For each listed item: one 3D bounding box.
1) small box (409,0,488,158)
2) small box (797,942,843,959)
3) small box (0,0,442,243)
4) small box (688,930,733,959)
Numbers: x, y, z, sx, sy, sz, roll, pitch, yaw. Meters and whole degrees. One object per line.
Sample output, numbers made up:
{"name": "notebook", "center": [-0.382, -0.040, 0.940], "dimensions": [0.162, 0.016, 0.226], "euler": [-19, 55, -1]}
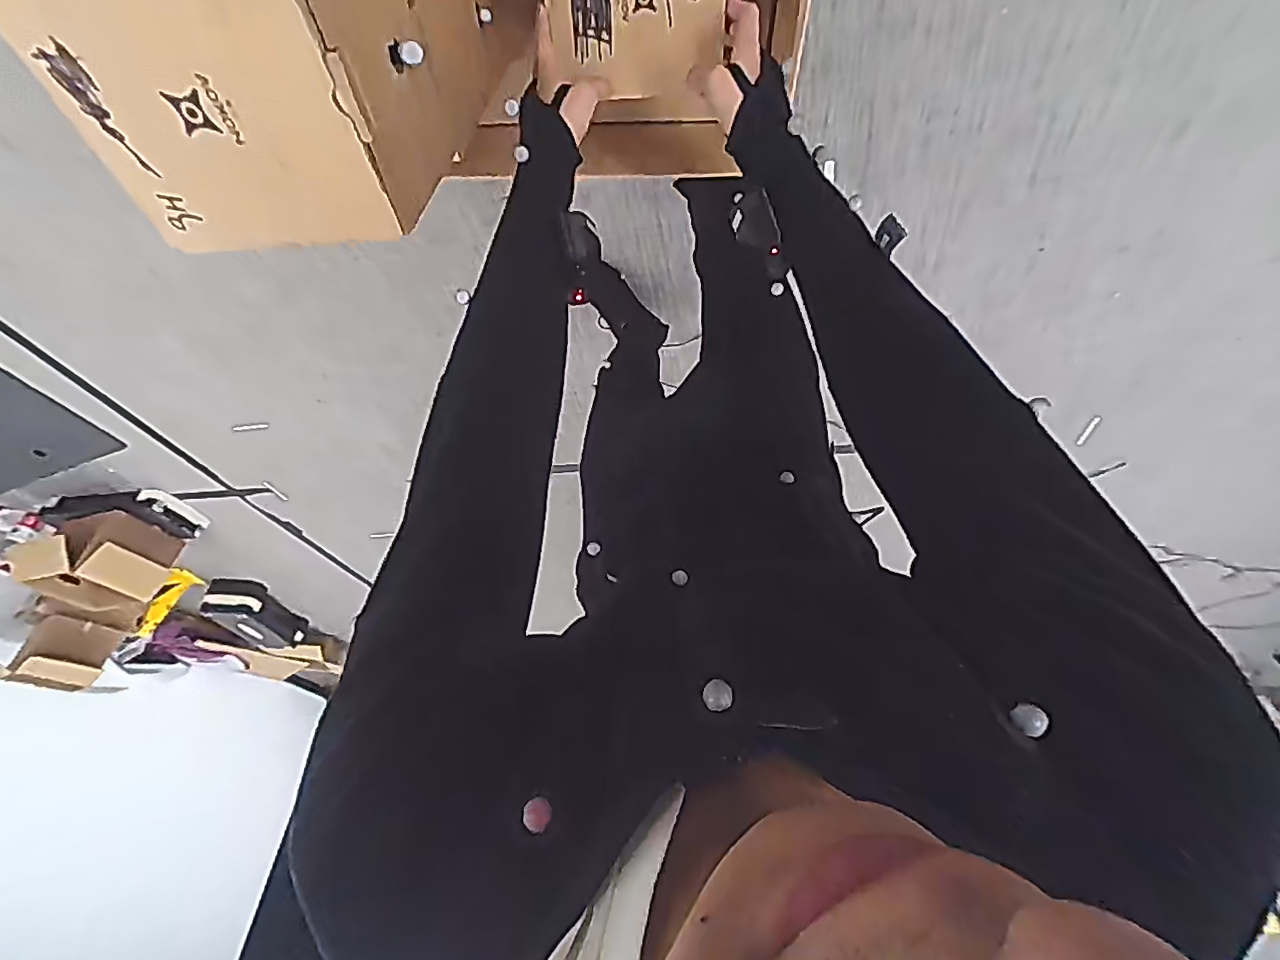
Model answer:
{"name": "small box", "center": [-0.245, -0.408, 0.471], "dimensions": [0.168, 0.176, 0.179], "euler": [-1, 142, 3]}
{"name": "small box", "center": [0.711, 1.923, 2.111], "dimensions": [0.168, 0.176, 0.179], "euler": [-9, 142, 16]}
{"name": "small box", "center": [-0.251, -0.284, 0.364], "dimensions": [0.179, 0.176, 0.168], "euler": [-1, 142, 4]}
{"name": "small box", "center": [0.292, 1.967, 2.213], "dimensions": [0.179, 0.176, 0.168], "euler": [-4, 143, 11]}
